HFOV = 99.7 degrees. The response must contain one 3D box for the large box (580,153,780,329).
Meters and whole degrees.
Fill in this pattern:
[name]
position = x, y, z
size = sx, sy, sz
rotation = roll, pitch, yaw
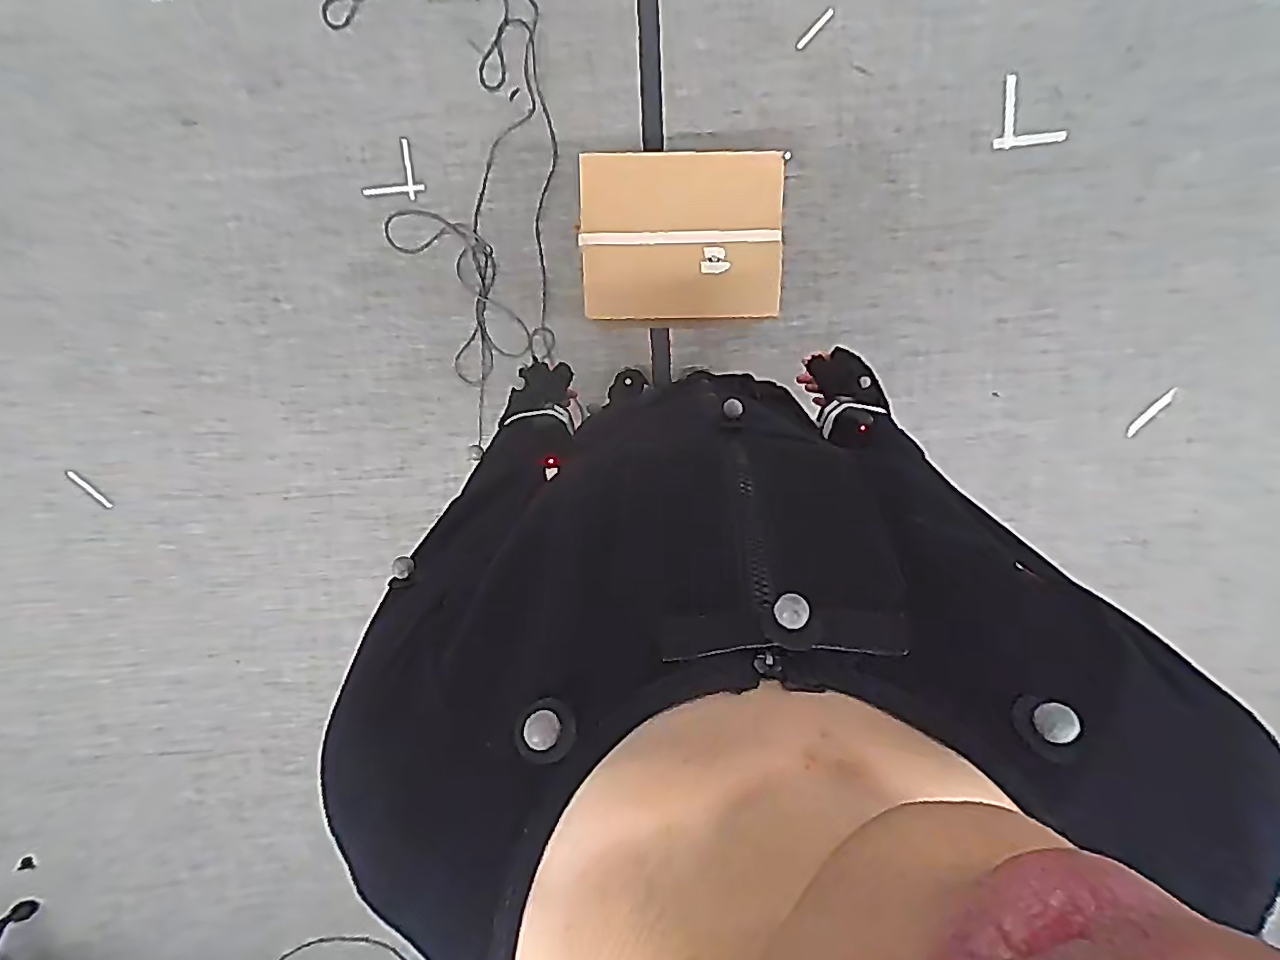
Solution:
[large box]
position = 0.080, -0.523, 1.245
size = 0.408, 0.320, 0.320
rotation = -1, 103, -1
